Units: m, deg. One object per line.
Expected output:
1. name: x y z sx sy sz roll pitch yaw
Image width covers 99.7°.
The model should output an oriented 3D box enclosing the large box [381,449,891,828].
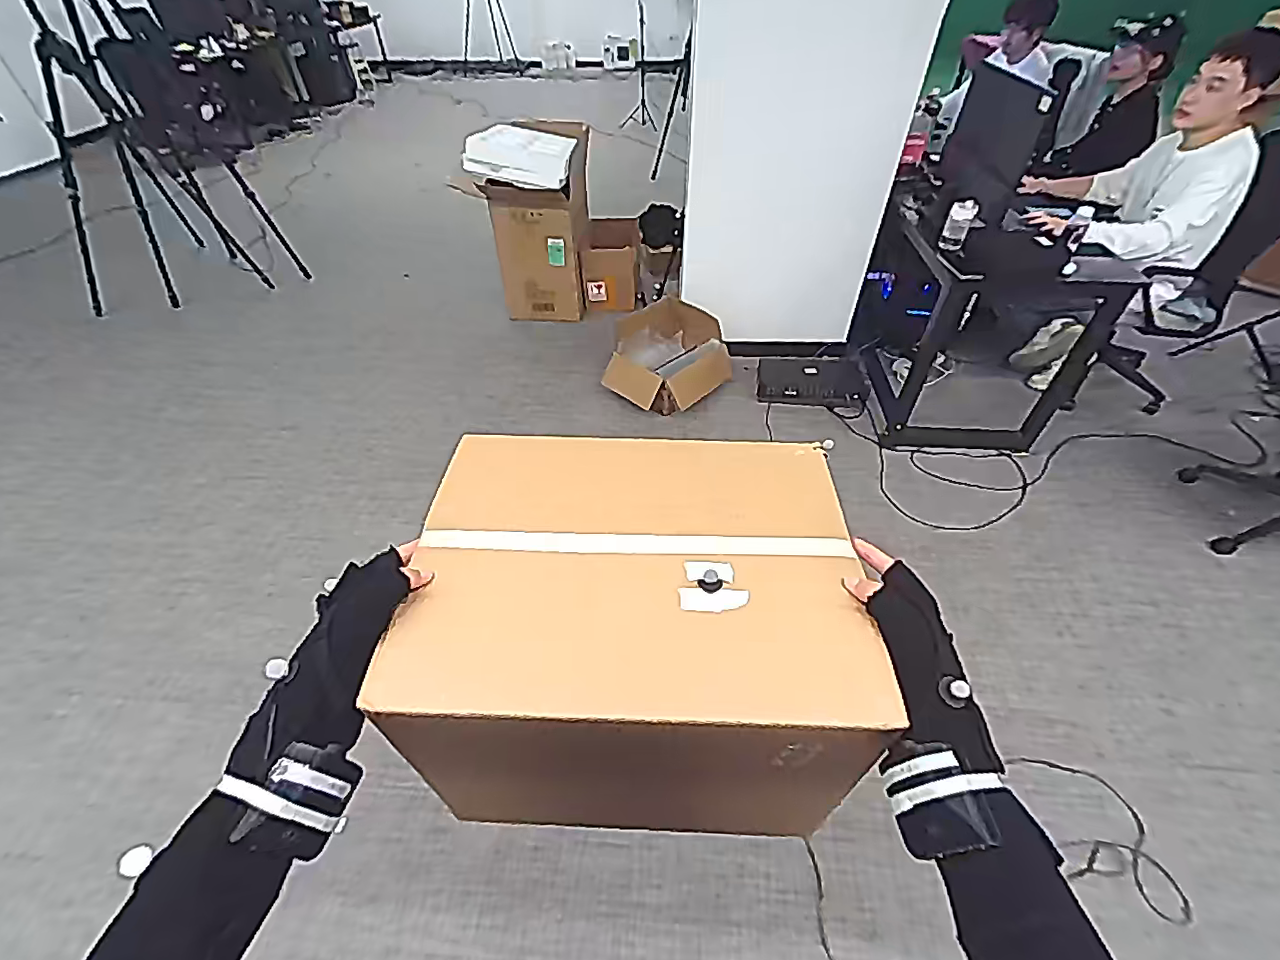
1. large box: -0.003 0.181 0.622 0.408 0.320 0.320 2 44 1
